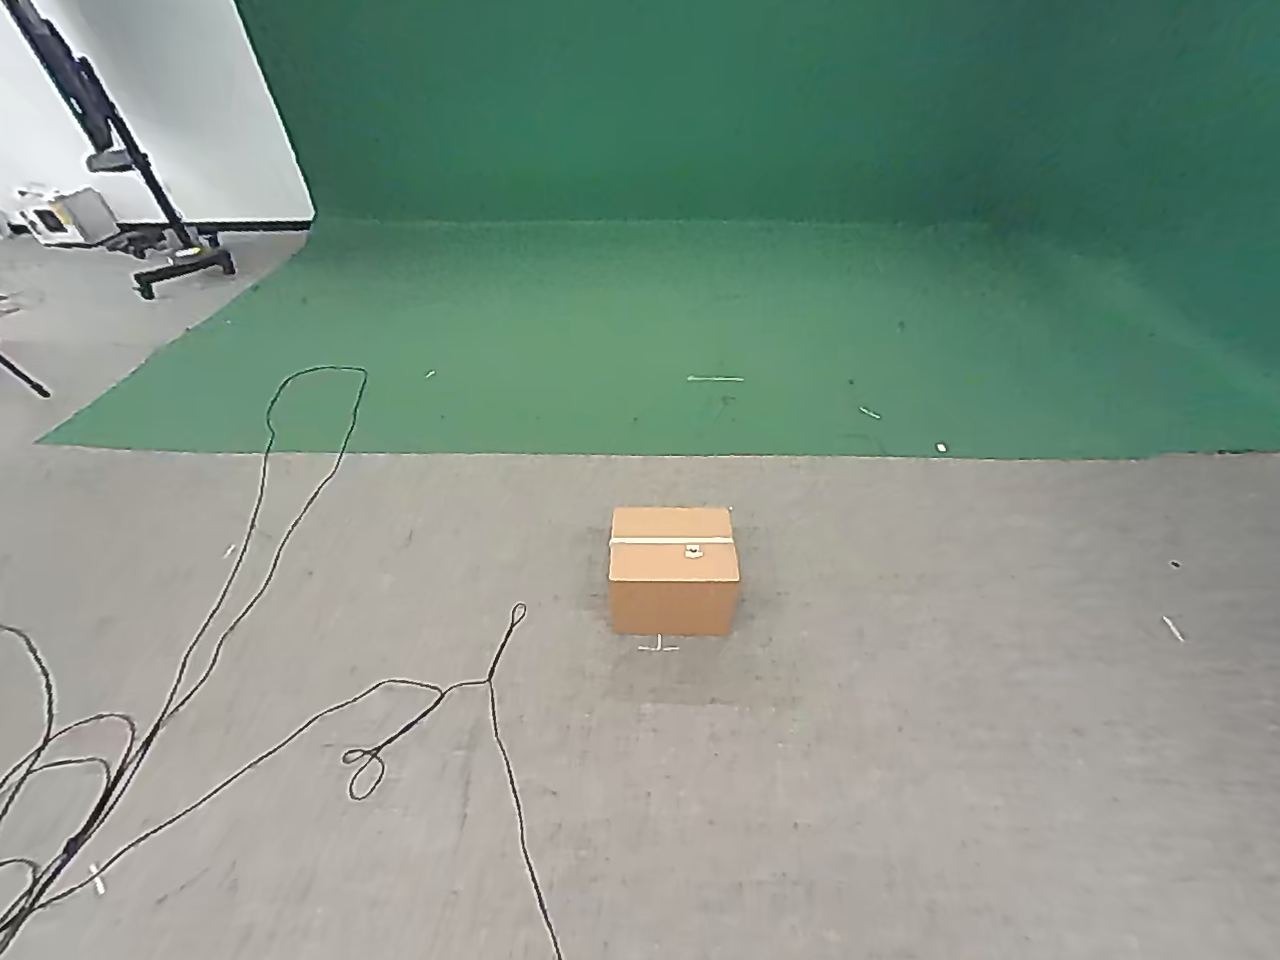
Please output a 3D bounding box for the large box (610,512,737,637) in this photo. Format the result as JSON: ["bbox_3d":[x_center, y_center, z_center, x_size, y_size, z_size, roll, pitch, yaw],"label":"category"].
[{"bbox_3d":[0.103,0.328,1.879,0.408,0.320,0.320,-1,43,0],"label":"large box"}]
